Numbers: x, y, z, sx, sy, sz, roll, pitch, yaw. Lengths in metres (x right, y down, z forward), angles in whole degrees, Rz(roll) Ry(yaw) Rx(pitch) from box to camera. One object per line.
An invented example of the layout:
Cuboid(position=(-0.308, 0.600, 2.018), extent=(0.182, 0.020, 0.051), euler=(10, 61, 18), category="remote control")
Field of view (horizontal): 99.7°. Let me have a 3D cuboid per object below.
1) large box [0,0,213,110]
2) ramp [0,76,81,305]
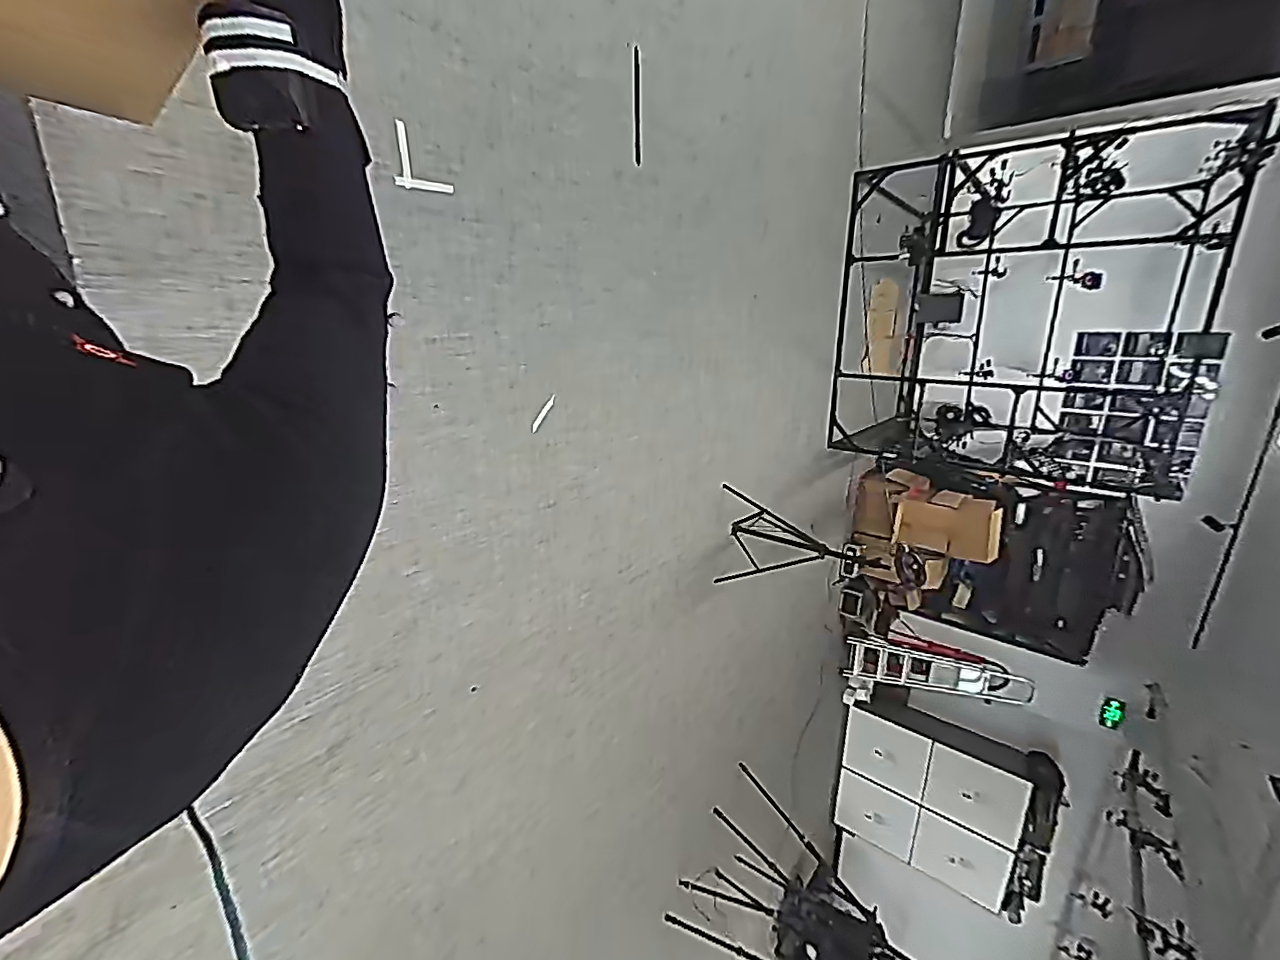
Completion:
Cuboid(position=(-0.491, -0.450, 0.250), extent=(0.408, 0.320, 0.320), euler=(-15, 108, -49), category="large box")
Cuboid(position=(-1.155, -0.736, 0.667), extent=(0.509, 0.206, 0.991), euler=(-22, 118, -48), category="ramp")
